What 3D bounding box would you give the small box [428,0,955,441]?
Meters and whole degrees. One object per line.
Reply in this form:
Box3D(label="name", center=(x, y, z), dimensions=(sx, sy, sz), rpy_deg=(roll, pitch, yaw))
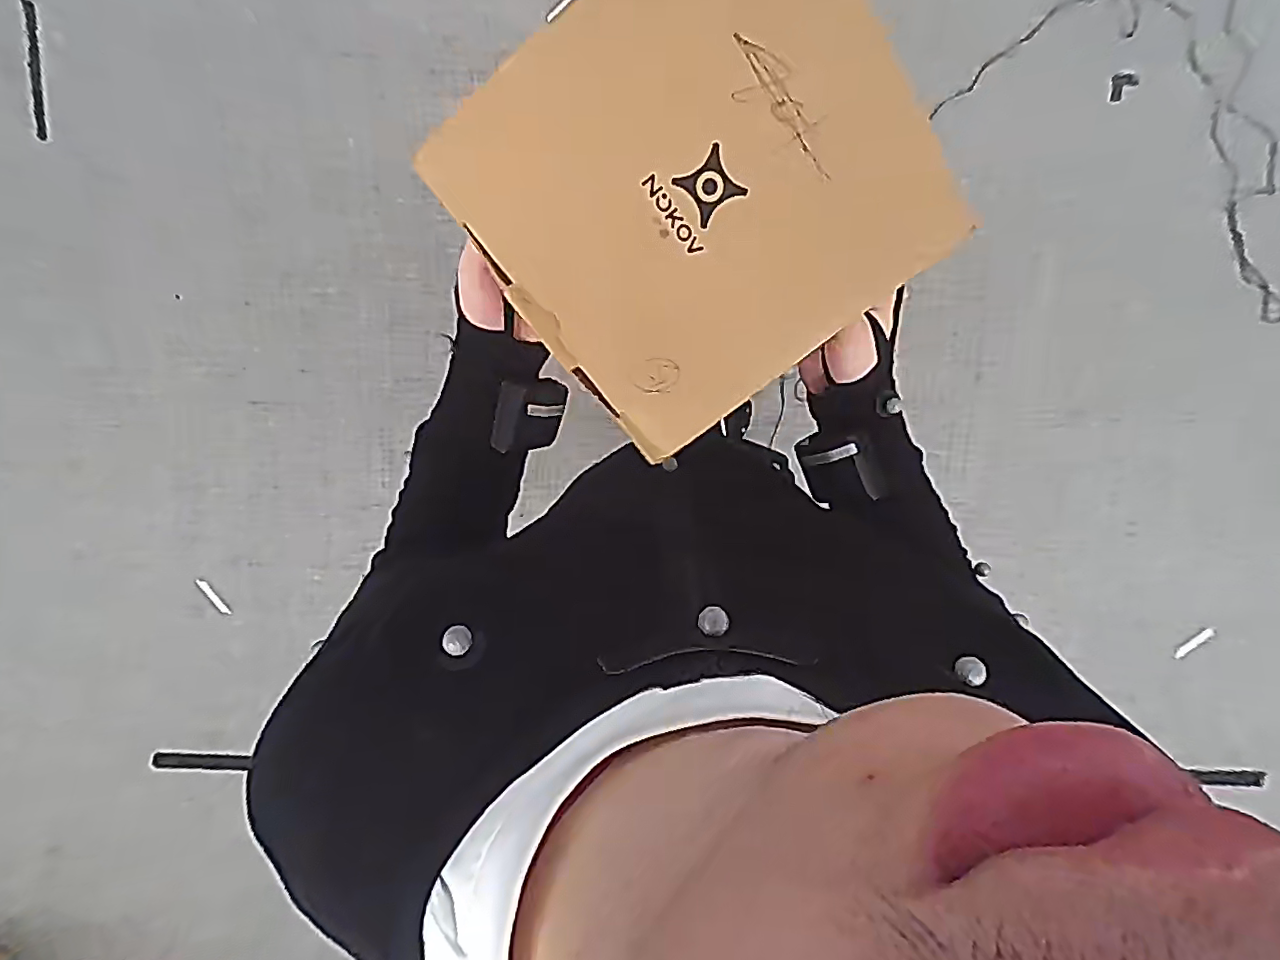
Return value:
Box3D(label="small box", center=(0.023, -0.152, 0.310), dimensions=(0.179, 0.176, 0.168), rpy_deg=(-38, 105, 9))
